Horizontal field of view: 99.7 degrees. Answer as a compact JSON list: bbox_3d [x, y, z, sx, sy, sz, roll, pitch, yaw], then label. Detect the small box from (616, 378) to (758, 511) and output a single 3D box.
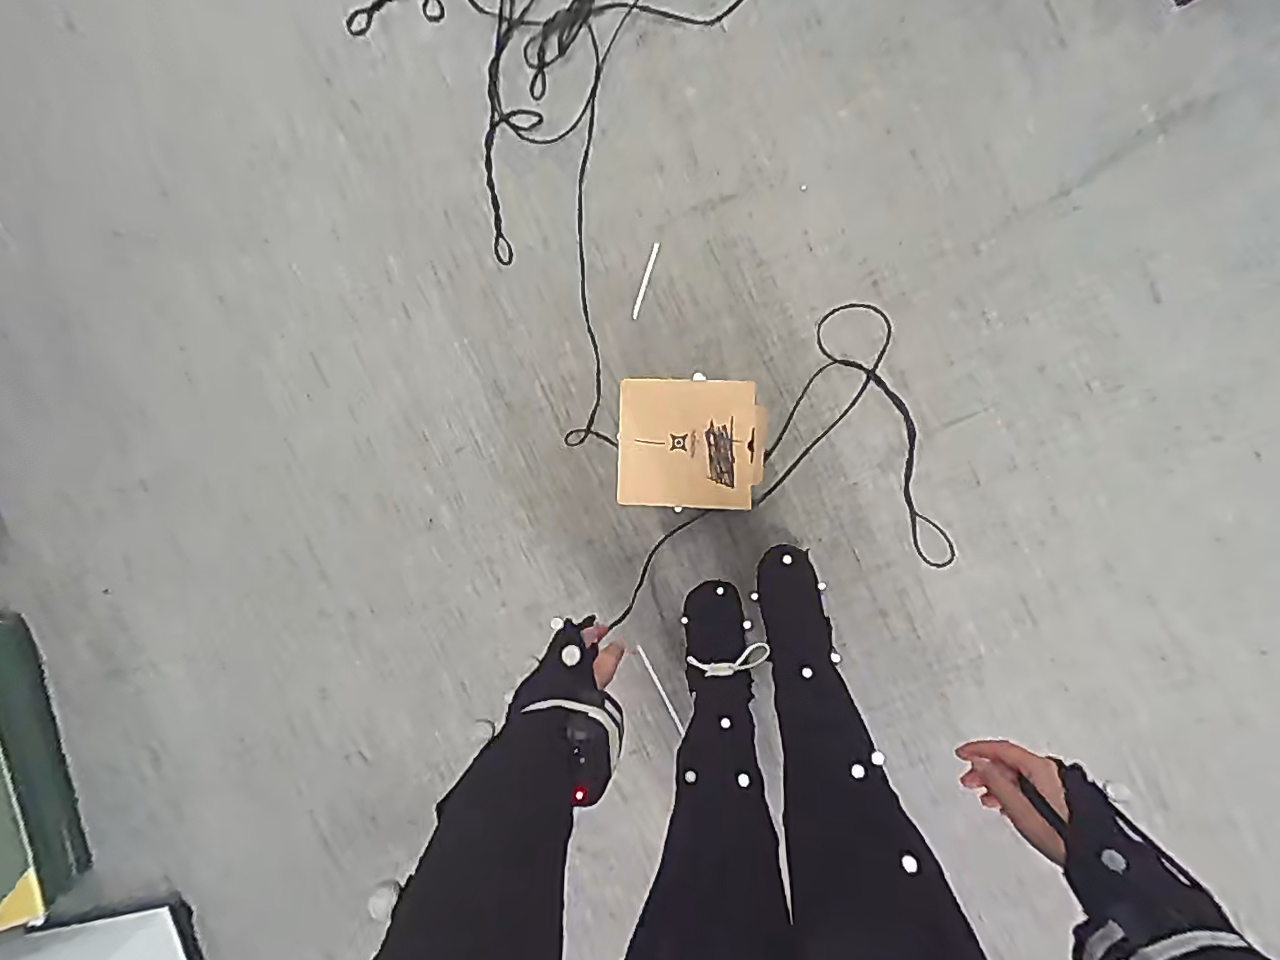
[{"bbox_3d":[0.067,-0.052,0.771,0.179,0.176,0.168,3,94,7],"label":"small box"}]
